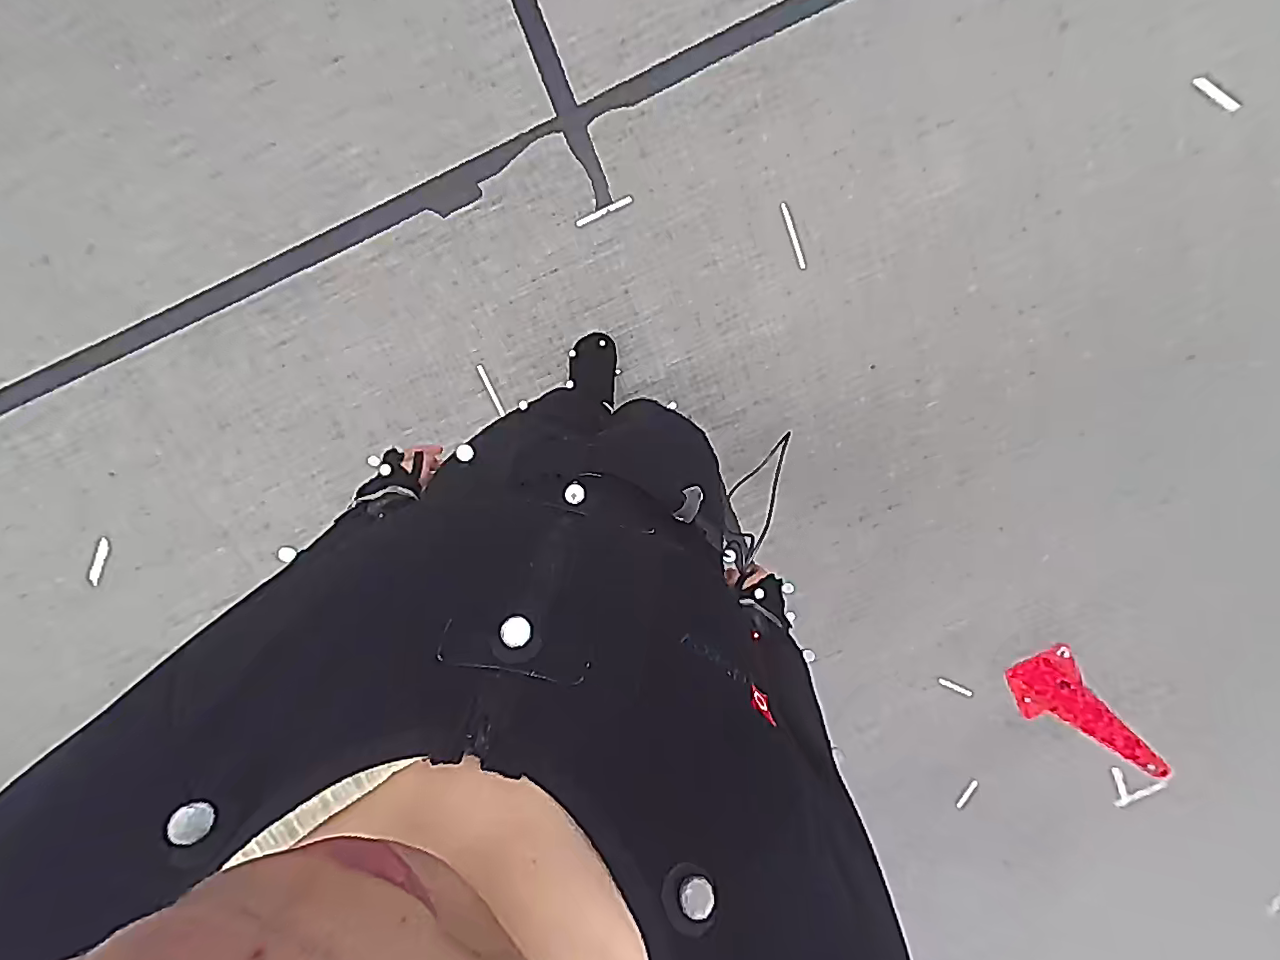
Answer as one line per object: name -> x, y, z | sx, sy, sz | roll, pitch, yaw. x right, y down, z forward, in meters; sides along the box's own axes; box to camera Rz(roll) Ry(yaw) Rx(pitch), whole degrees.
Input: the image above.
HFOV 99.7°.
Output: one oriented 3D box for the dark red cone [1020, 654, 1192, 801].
dark red cone -> 1.213, 0.653, 1.398 | 0.201, 0.394, 0.202 | -30, 104, 6
